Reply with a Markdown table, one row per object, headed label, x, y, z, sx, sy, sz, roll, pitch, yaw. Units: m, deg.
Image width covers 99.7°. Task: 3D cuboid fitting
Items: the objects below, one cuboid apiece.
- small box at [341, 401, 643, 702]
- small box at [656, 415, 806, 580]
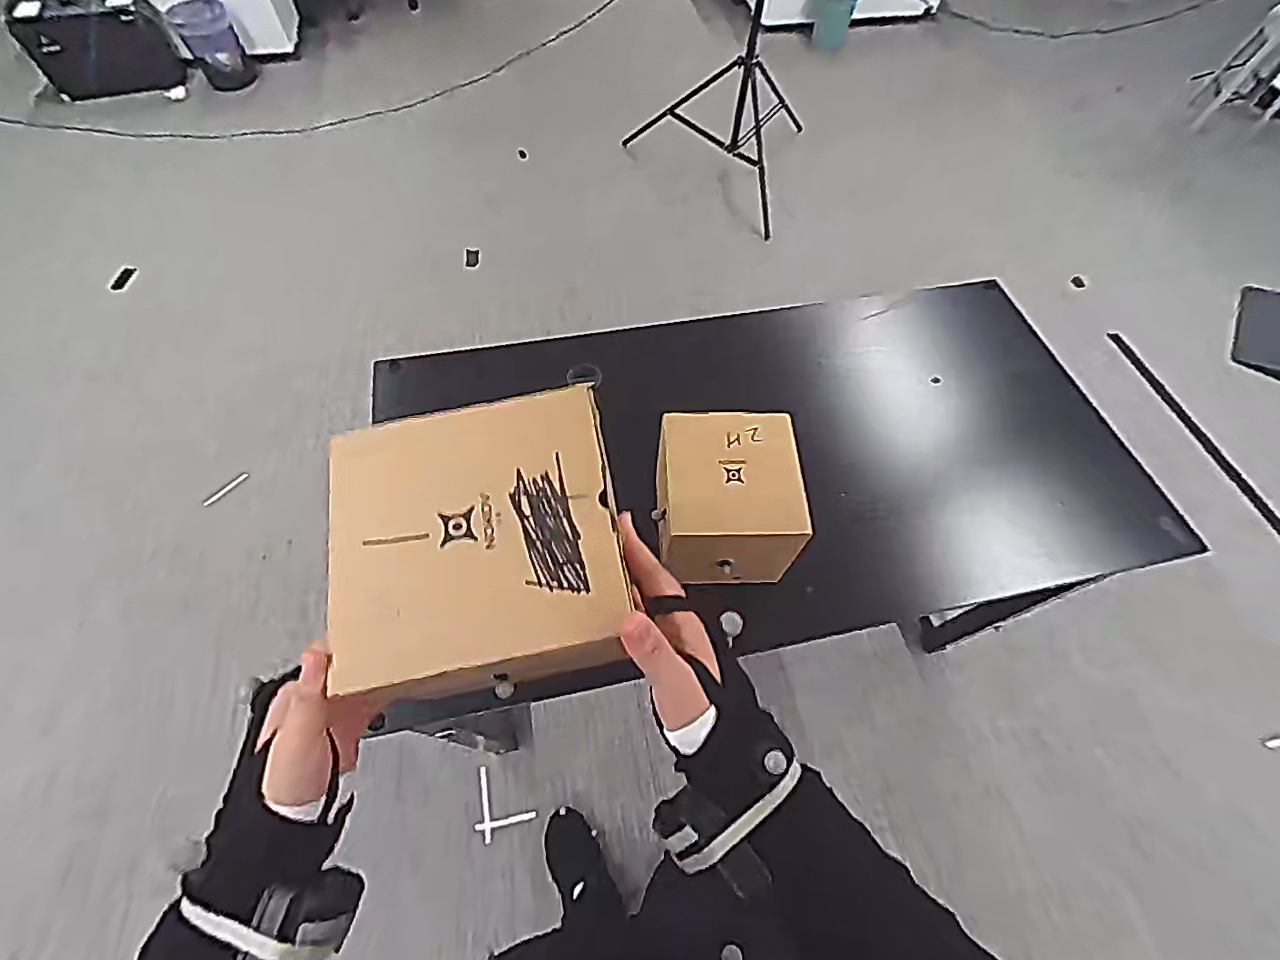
| label | x | y | z | sx | sy | sz | roll | pitch | yaw |
| --- | --- | --- | --- | --- | --- | --- | --- | --- | --- |
| small box | -0.097 | 0.065 | 0.412 | 0.179 | 0.176 | 0.168 | -12 | 67 | -2 |
| small box | 0.110 | 0.030 | 0.735 | 0.168 | 0.176 | 0.179 | 0 | 59 | -3 |
